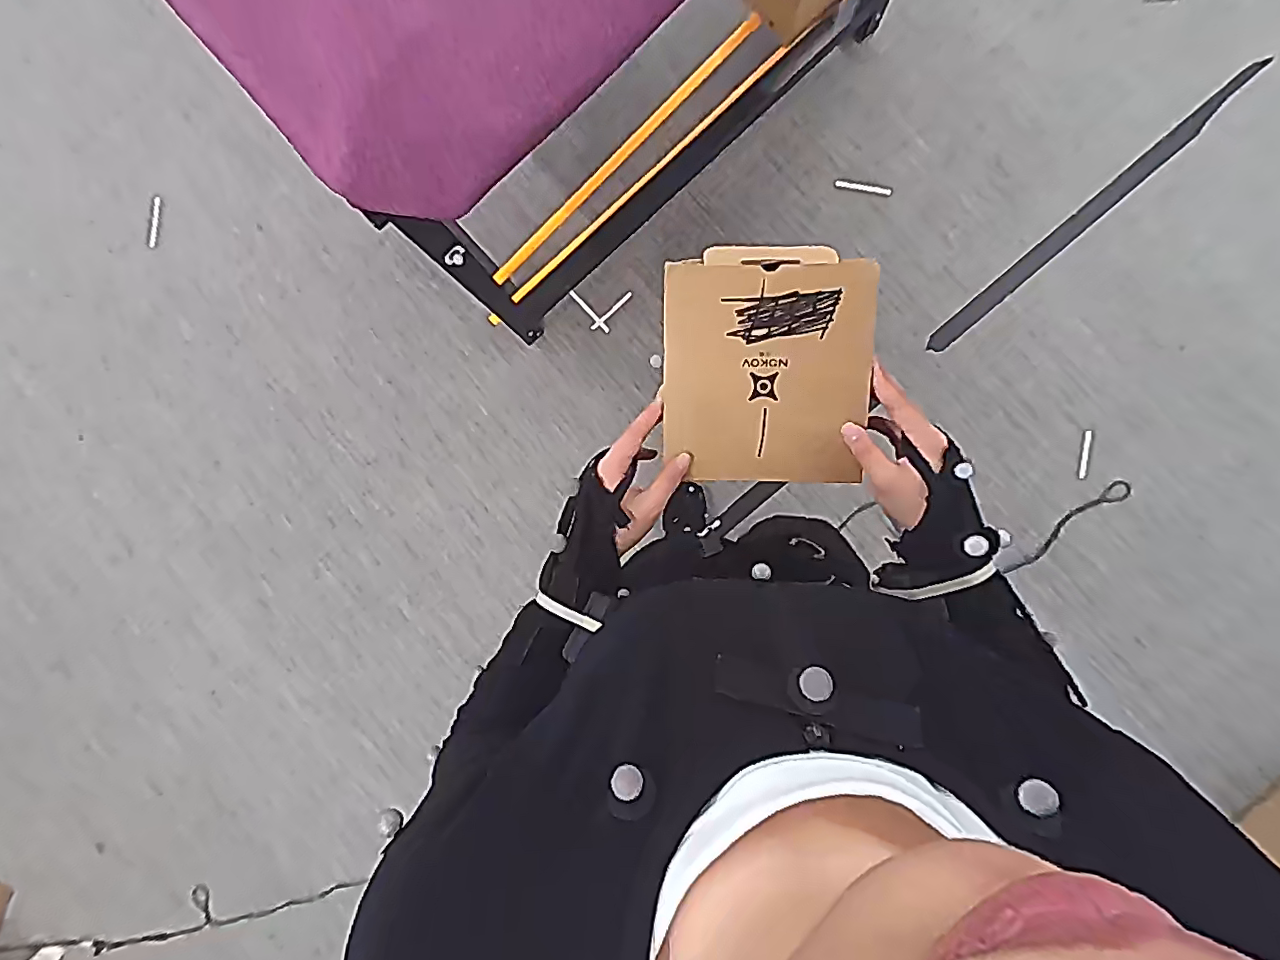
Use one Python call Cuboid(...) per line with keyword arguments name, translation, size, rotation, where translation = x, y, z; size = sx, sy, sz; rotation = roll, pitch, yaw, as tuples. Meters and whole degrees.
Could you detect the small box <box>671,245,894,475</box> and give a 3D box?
Cuboid(name="small box", translation=(0.113, -0.105, 0.501), size=(0.168, 0.176, 0.179), rotation=(1, 101, 5))
